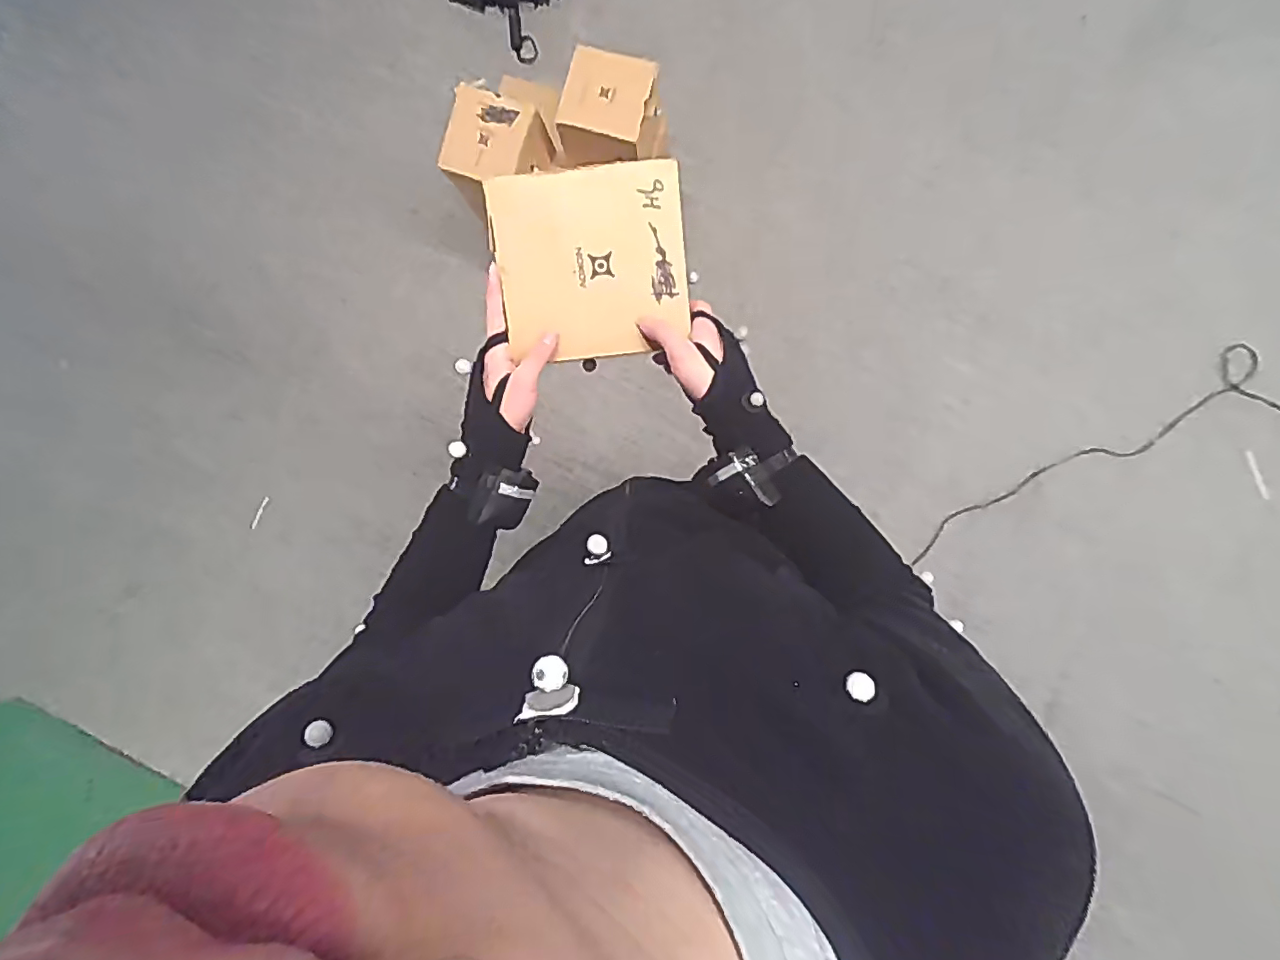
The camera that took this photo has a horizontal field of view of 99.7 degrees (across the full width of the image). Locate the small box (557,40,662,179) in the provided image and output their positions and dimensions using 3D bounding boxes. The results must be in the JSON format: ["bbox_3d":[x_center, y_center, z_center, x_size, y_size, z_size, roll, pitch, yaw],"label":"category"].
[{"bbox_3d":[-0.056,-0.778,1.155,0.179,0.176,0.168,16,89,5],"label":"small box"}]

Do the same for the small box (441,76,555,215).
[{"bbox_3d":[-0.298,-0.717,1.176,0.168,0.176,0.179,20,96,4],"label":"small box"}]
